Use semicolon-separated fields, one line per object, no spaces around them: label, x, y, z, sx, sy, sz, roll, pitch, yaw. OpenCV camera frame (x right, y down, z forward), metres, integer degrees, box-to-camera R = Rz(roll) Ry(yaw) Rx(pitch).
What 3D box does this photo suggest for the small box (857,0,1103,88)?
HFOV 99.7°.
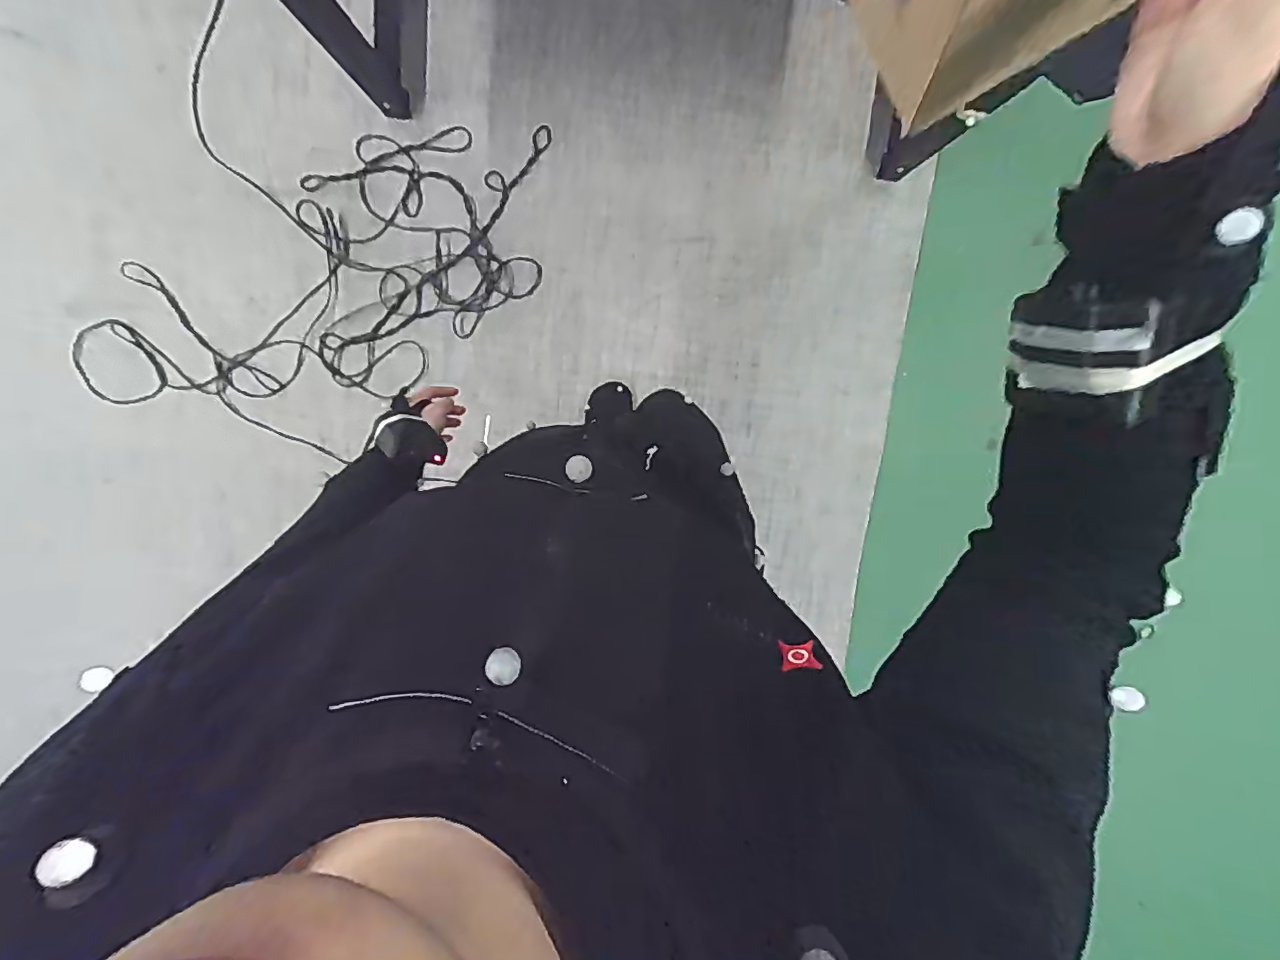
small box;0.177;-0.312;0.224;0.168;0.176;0.179;-26;91;18
